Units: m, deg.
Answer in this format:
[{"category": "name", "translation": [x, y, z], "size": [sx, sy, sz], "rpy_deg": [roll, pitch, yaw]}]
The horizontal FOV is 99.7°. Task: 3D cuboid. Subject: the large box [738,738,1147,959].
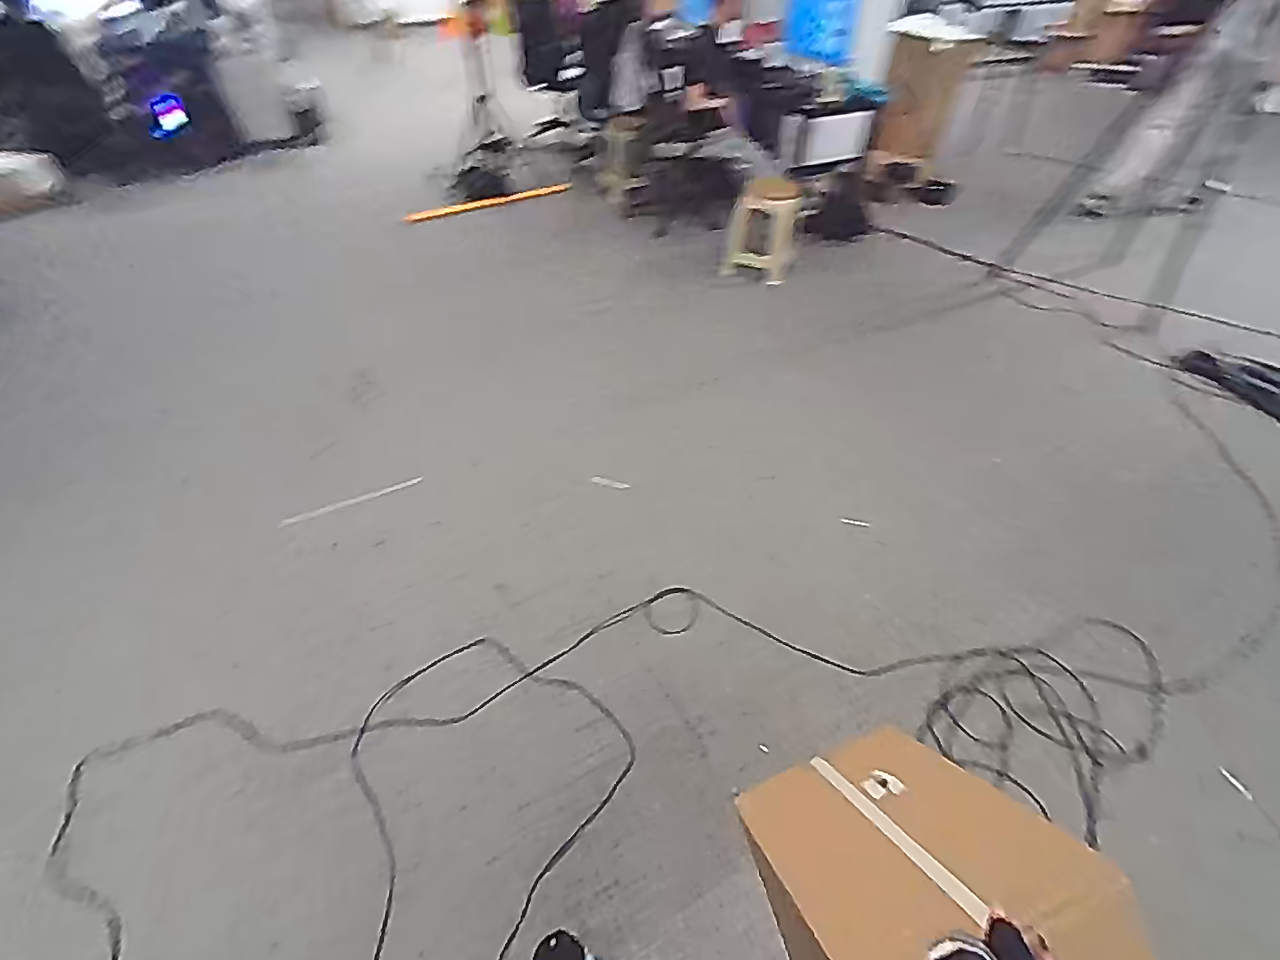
[{"category": "large box", "translation": [0.383, 0.624, 0.728], "size": [0.320, 0.408, 0.320], "rpy_deg": [-18, 87, -9]}]
